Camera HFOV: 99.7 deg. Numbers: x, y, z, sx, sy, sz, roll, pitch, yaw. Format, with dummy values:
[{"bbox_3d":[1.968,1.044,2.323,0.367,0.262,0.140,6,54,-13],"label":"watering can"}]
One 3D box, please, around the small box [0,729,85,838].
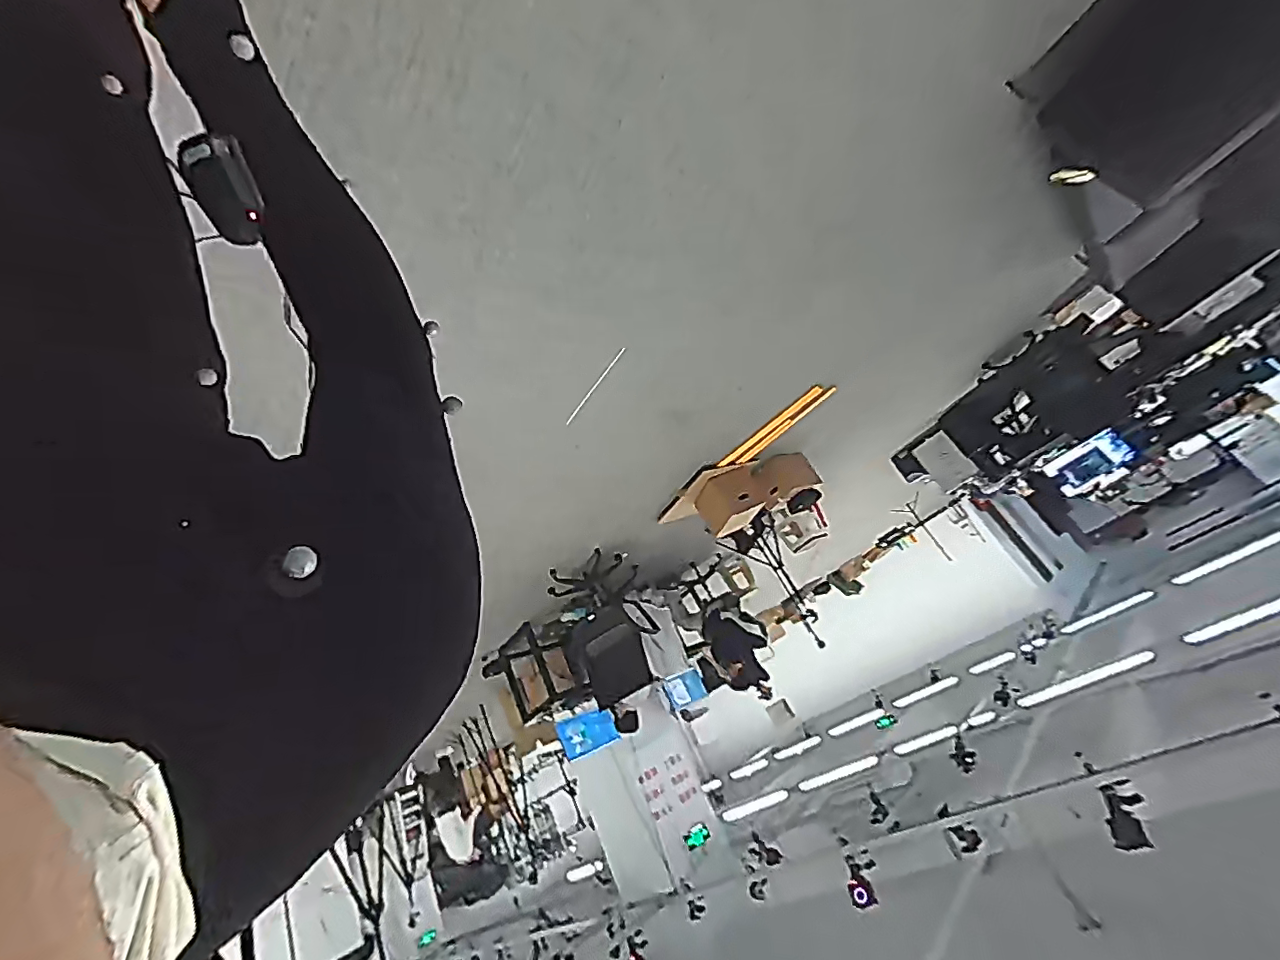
[{"bbox_3d":[-1.442,0.721,1.288,0.168,0.176,0.179,-2,145,-46],"label":"small box"}]
